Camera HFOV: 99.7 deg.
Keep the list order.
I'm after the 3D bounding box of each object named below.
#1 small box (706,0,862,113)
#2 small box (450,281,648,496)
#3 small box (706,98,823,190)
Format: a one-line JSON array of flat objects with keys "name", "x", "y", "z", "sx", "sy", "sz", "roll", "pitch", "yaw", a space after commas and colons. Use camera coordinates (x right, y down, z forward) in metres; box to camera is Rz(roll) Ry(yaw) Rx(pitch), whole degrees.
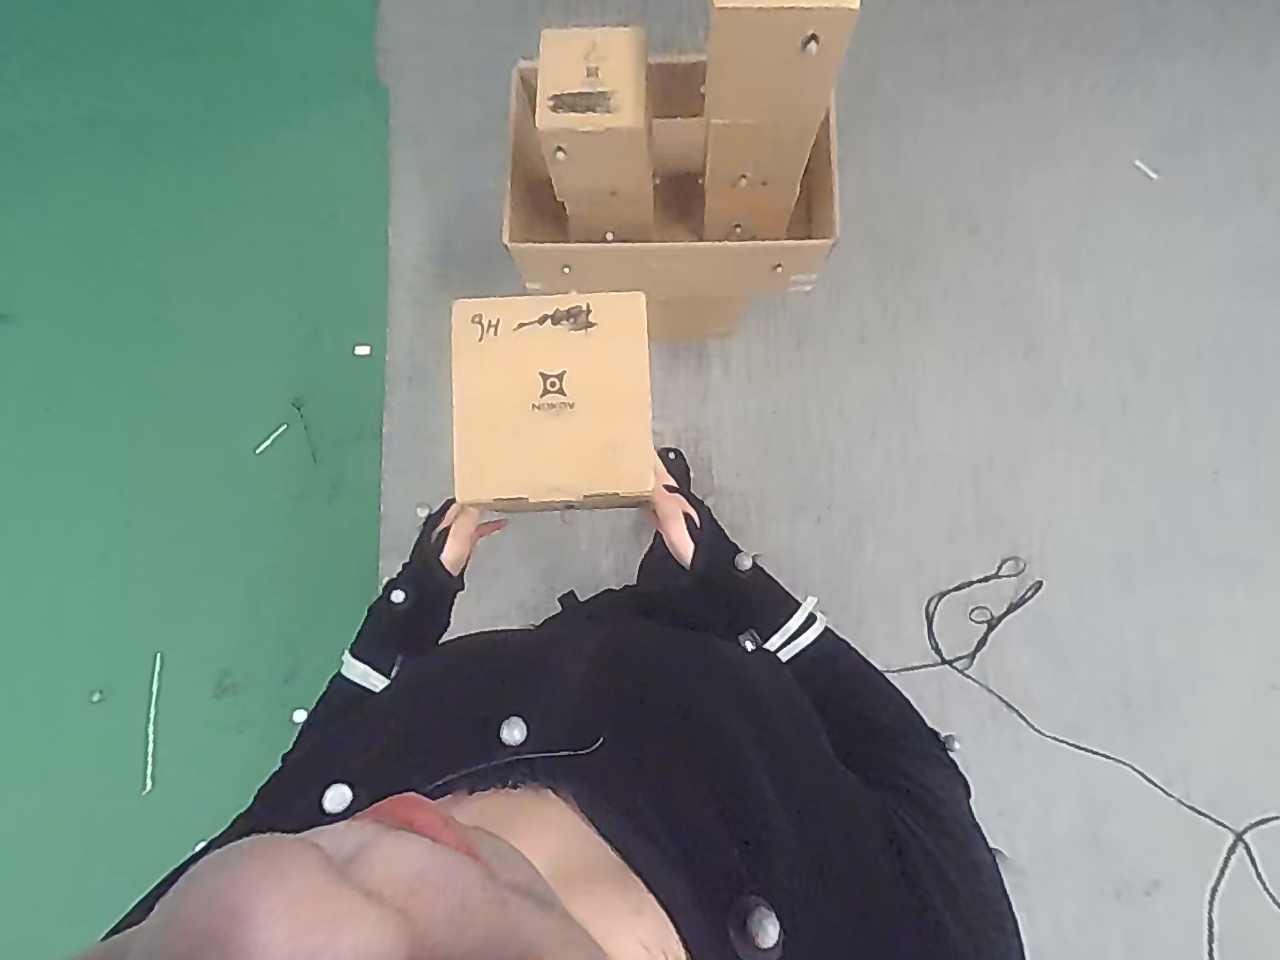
[{"name": "small box", "x": 0.184, "y": -0.625, "z": 0.718, "sx": 0.179, "sy": 0.176, "sz": 0.168, "roll": 5, "pitch": 83, "yaw": 5}, {"name": "small box", "x": -0.076, "y": -0.074, "z": 0.531, "sx": 0.168, "sy": 0.176, "sz": 0.179, "roll": -2, "pitch": 85, "yaw": 0}, {"name": "small box", "x": 0.196, "y": -0.609, "z": 0.881, "sx": 0.168, "sy": 0.176, "sz": 0.179, "roll": 3, "pitch": 84, "yaw": 5}]
